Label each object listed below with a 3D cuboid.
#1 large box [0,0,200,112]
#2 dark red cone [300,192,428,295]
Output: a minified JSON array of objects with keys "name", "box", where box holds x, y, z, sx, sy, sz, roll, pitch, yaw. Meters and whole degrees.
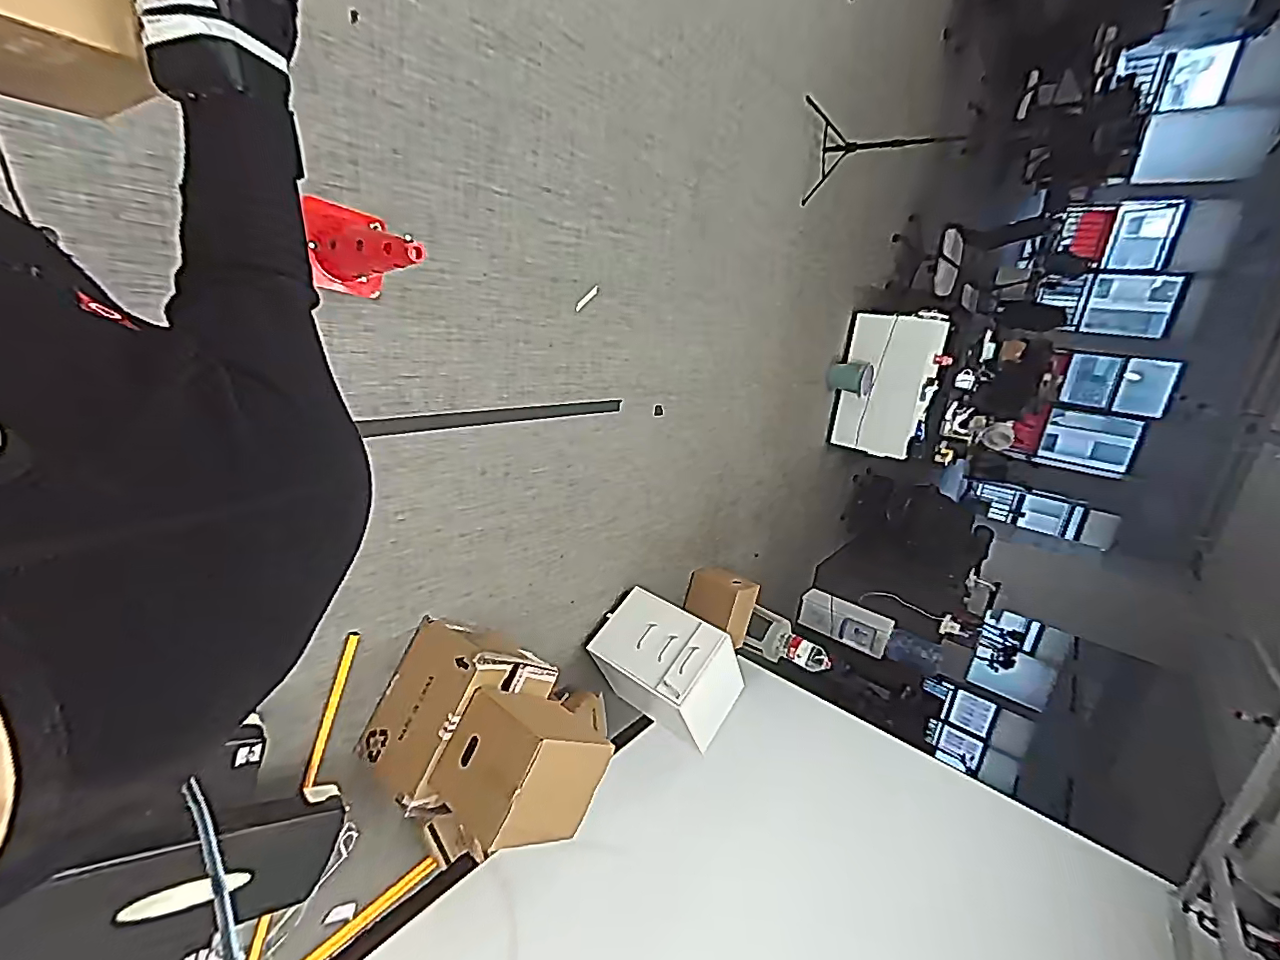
[{"name":"large box","box":[-0.533,-0.441,0.269,0.408,0.320,0.320,-15,119,-51]},{"name":"dark red cone","box":[-0.592,-0.520,1.216,0.201,0.394,0.202,-5,110,-51]}]
